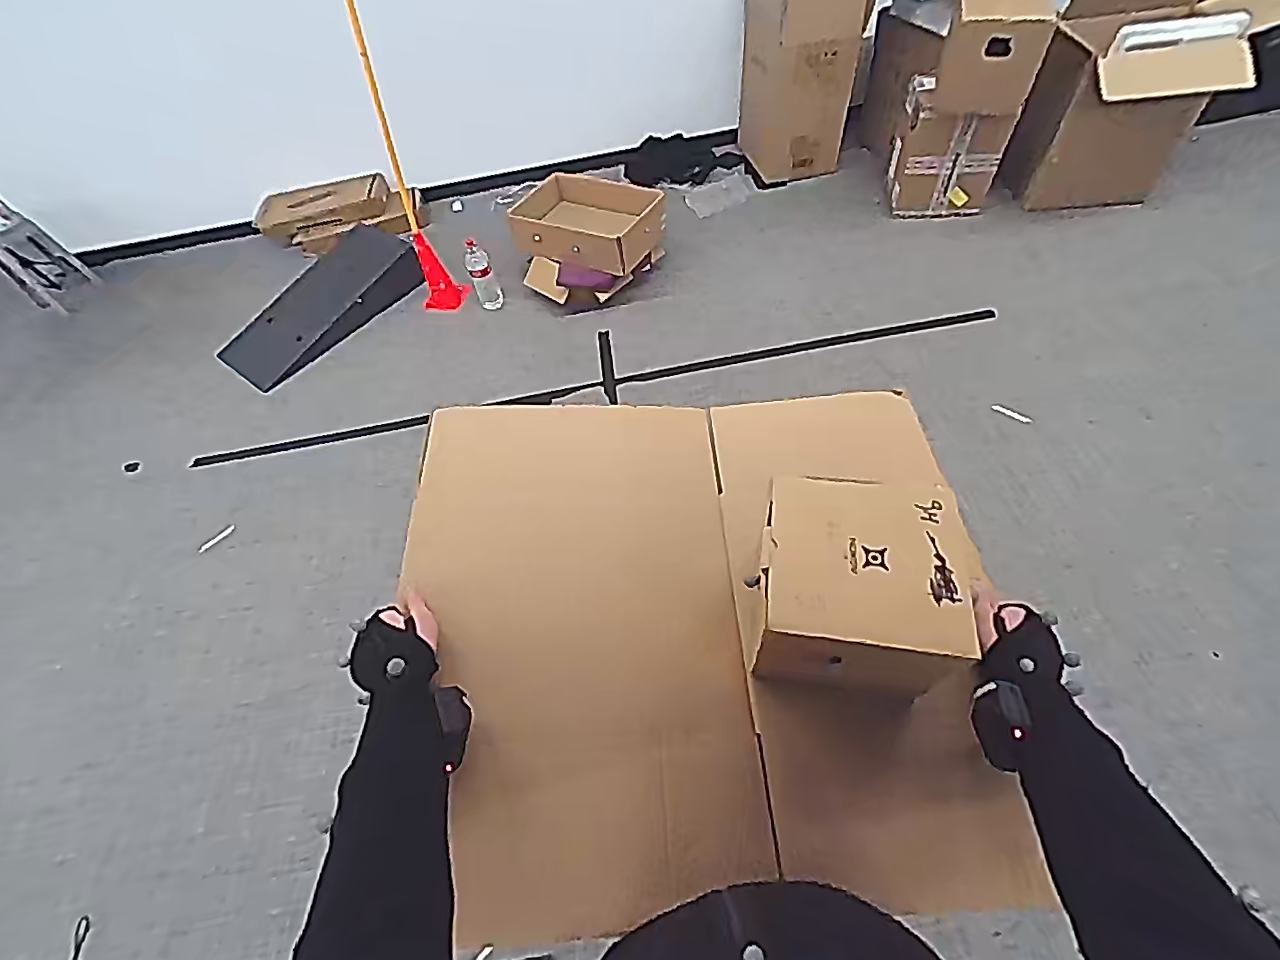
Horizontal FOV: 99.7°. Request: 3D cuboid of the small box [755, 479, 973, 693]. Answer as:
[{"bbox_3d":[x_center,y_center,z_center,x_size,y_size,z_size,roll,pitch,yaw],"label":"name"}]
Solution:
[{"bbox_3d":[0.217,0.116,0.573,0.179,0.176,0.168,4,58,11],"label":"small box"}]
